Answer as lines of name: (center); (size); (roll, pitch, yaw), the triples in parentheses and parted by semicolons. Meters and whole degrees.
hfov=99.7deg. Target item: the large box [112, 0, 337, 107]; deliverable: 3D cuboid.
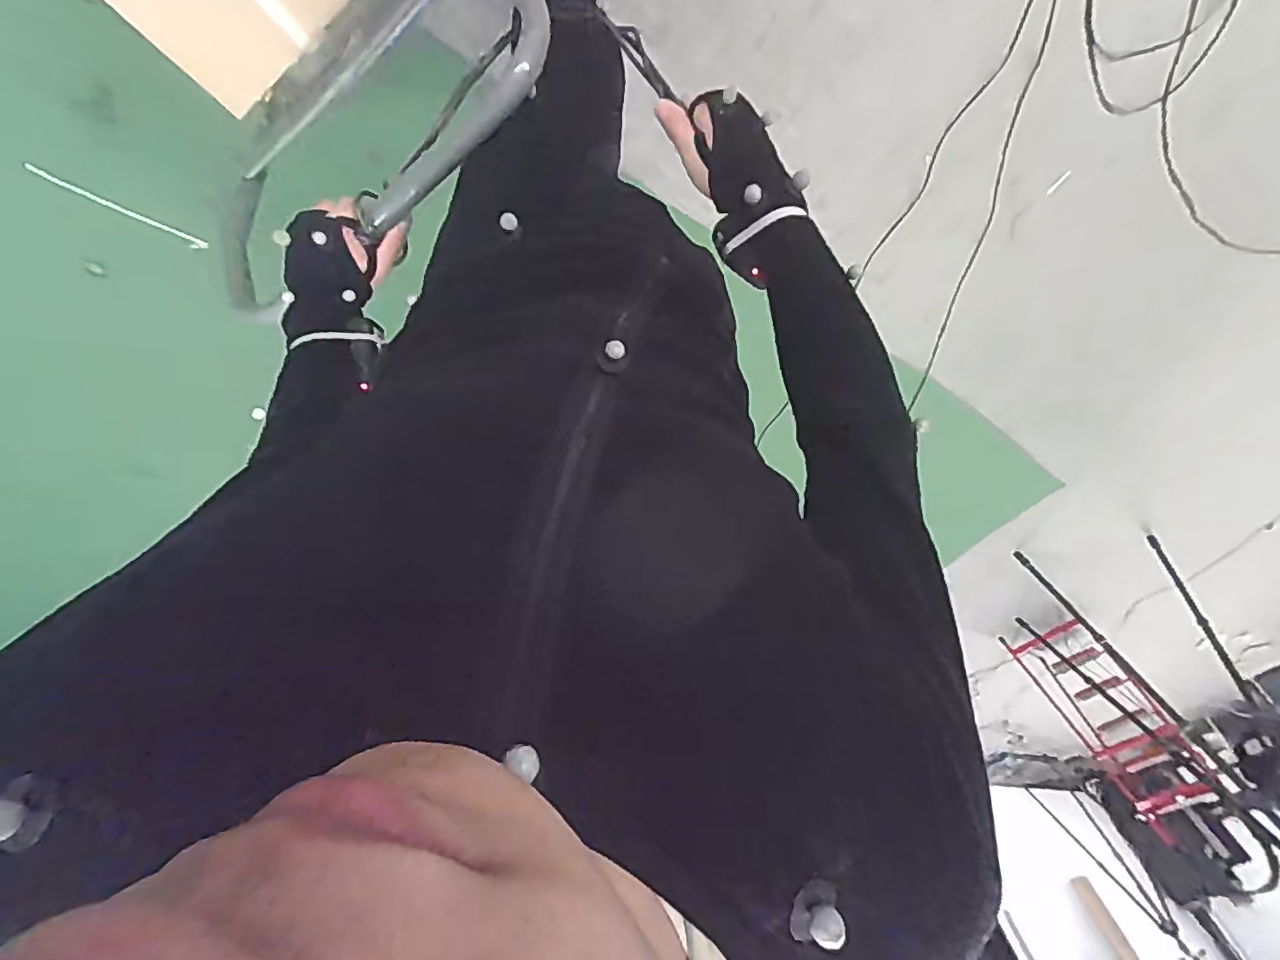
large box: (-0.586, -0.802, 0.678); (0.320, 0.320, 0.408); (-30, 140, 17)
